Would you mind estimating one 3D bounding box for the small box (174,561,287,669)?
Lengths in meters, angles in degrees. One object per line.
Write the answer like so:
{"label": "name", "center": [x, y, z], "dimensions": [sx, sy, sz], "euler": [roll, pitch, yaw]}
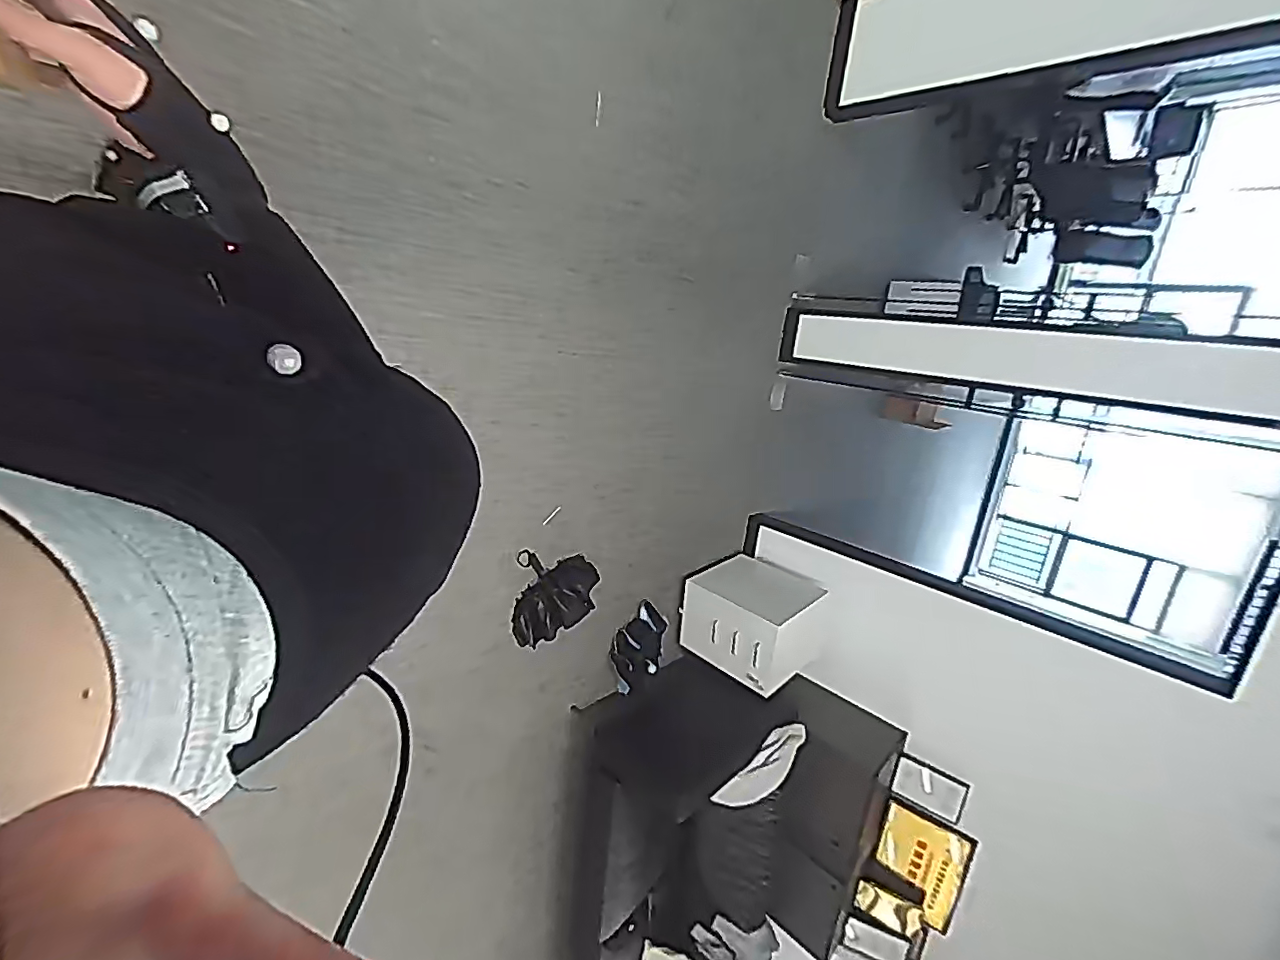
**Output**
{"label": "small box", "center": [-1.010, 0.320, 1.334], "dimensions": [0.168, 0.176, 0.179], "euler": [-25, 125, -37]}
